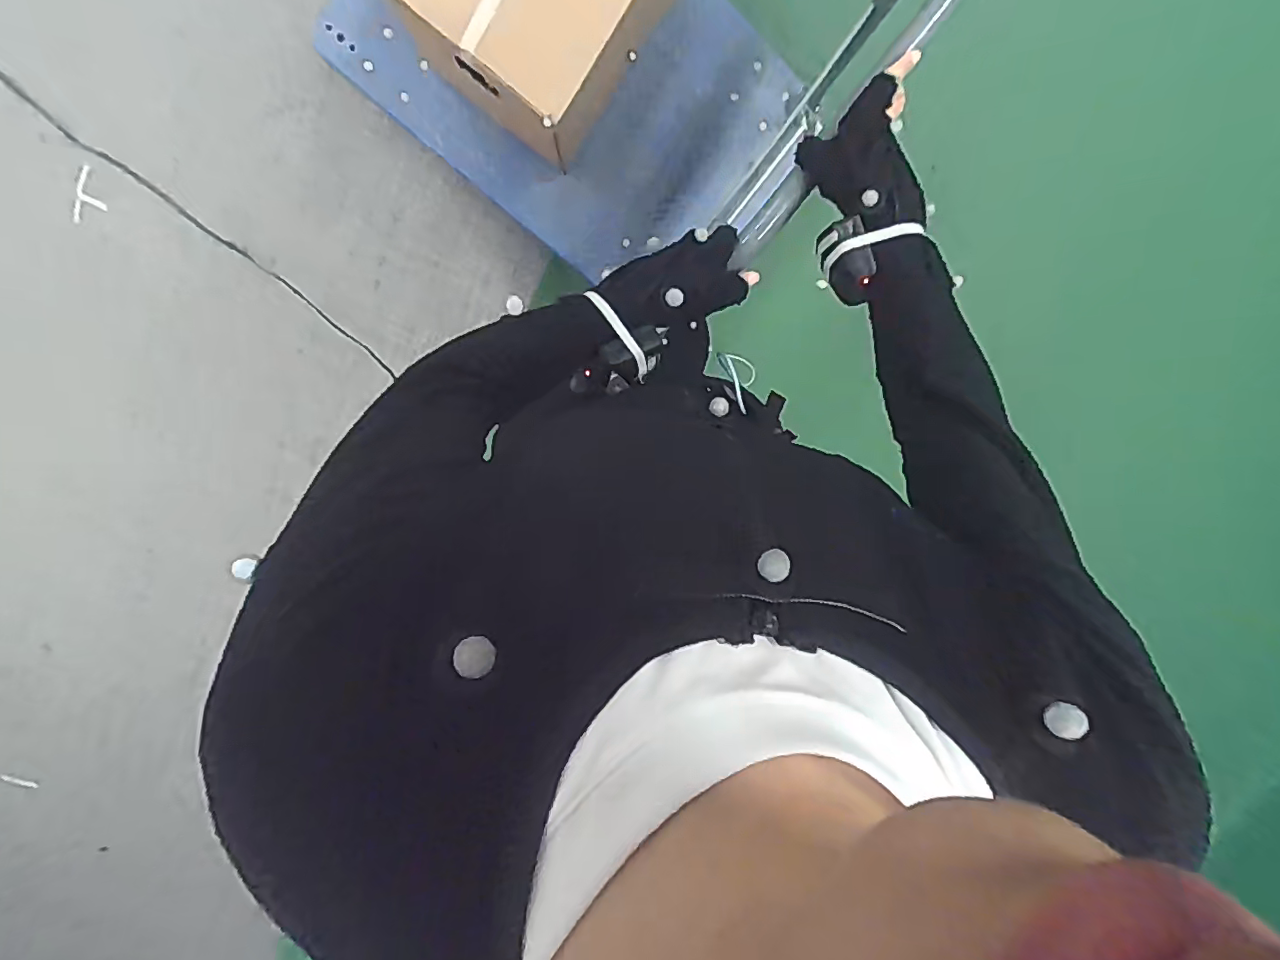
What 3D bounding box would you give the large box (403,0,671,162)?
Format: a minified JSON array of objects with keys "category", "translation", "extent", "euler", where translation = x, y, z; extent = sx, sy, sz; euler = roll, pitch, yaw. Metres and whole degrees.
[{"category":"large box","translation":[-0.136,-0.838,0.894],"extent":[0.320,0.320,0.408],"euler":[34,103,-13]}]
